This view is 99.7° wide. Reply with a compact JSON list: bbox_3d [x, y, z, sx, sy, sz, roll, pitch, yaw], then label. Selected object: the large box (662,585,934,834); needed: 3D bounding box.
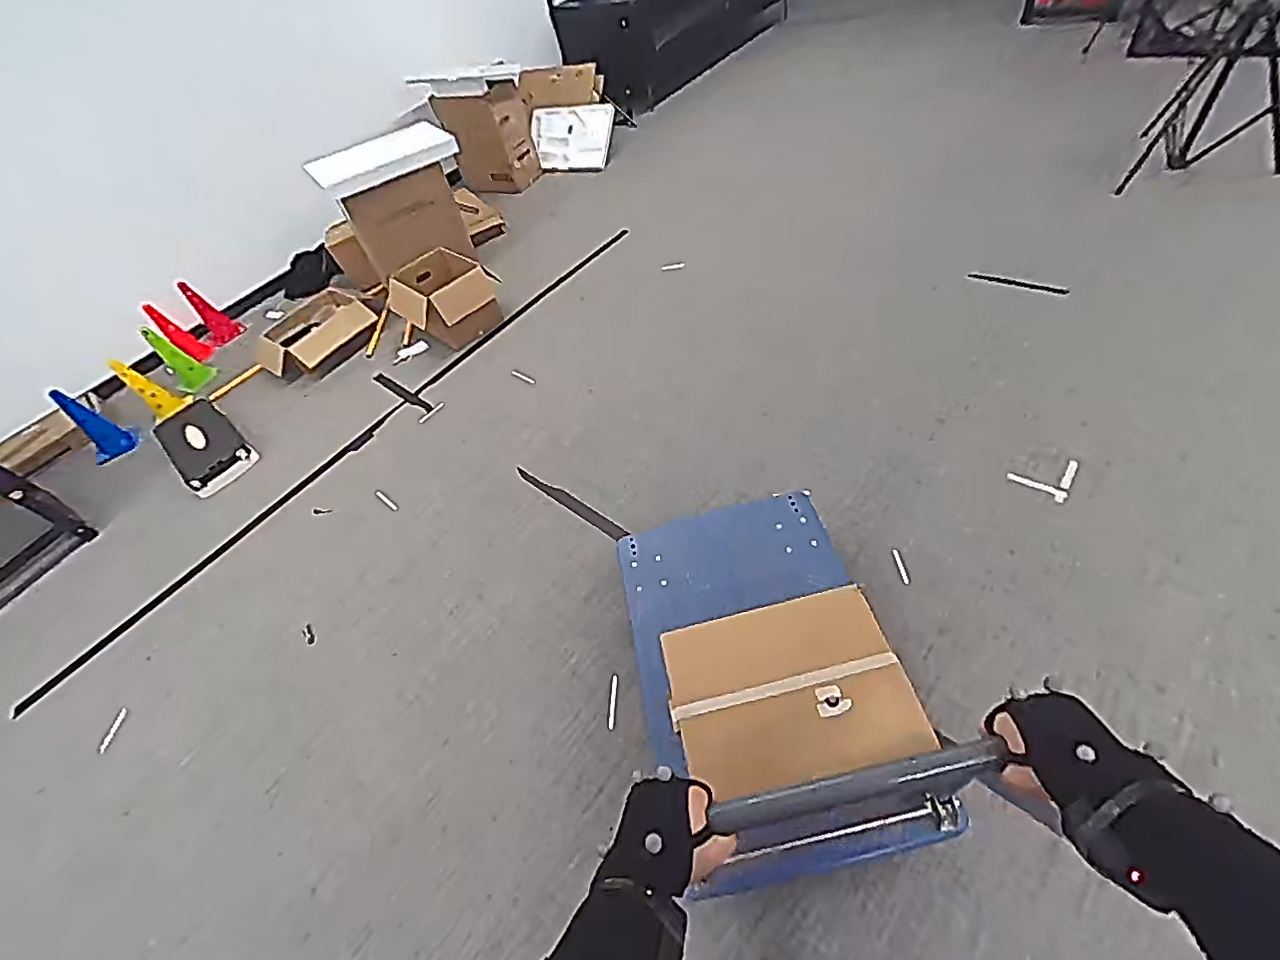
[{"bbox_3d":[0.286,0.465,1.084,0.408,0.320,0.320,-15,50,1],"label":"large box"}]
